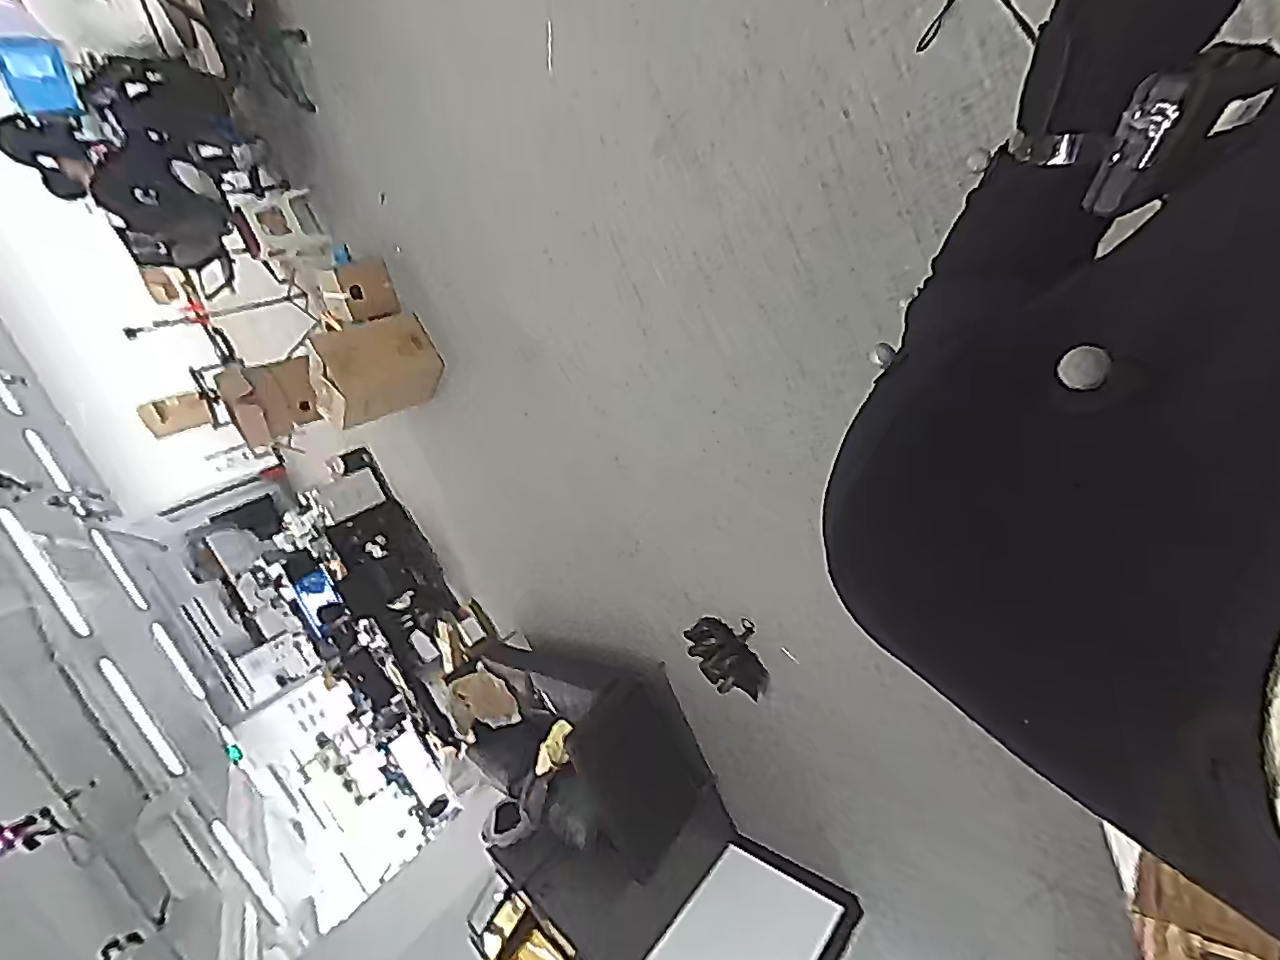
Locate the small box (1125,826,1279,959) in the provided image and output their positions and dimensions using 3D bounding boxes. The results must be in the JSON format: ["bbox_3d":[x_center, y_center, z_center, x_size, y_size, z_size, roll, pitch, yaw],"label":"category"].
[{"bbox_3d":[0.830,0.648,0.774,0.168,0.176,0.179,-10,108,52],"label":"small box"}]
